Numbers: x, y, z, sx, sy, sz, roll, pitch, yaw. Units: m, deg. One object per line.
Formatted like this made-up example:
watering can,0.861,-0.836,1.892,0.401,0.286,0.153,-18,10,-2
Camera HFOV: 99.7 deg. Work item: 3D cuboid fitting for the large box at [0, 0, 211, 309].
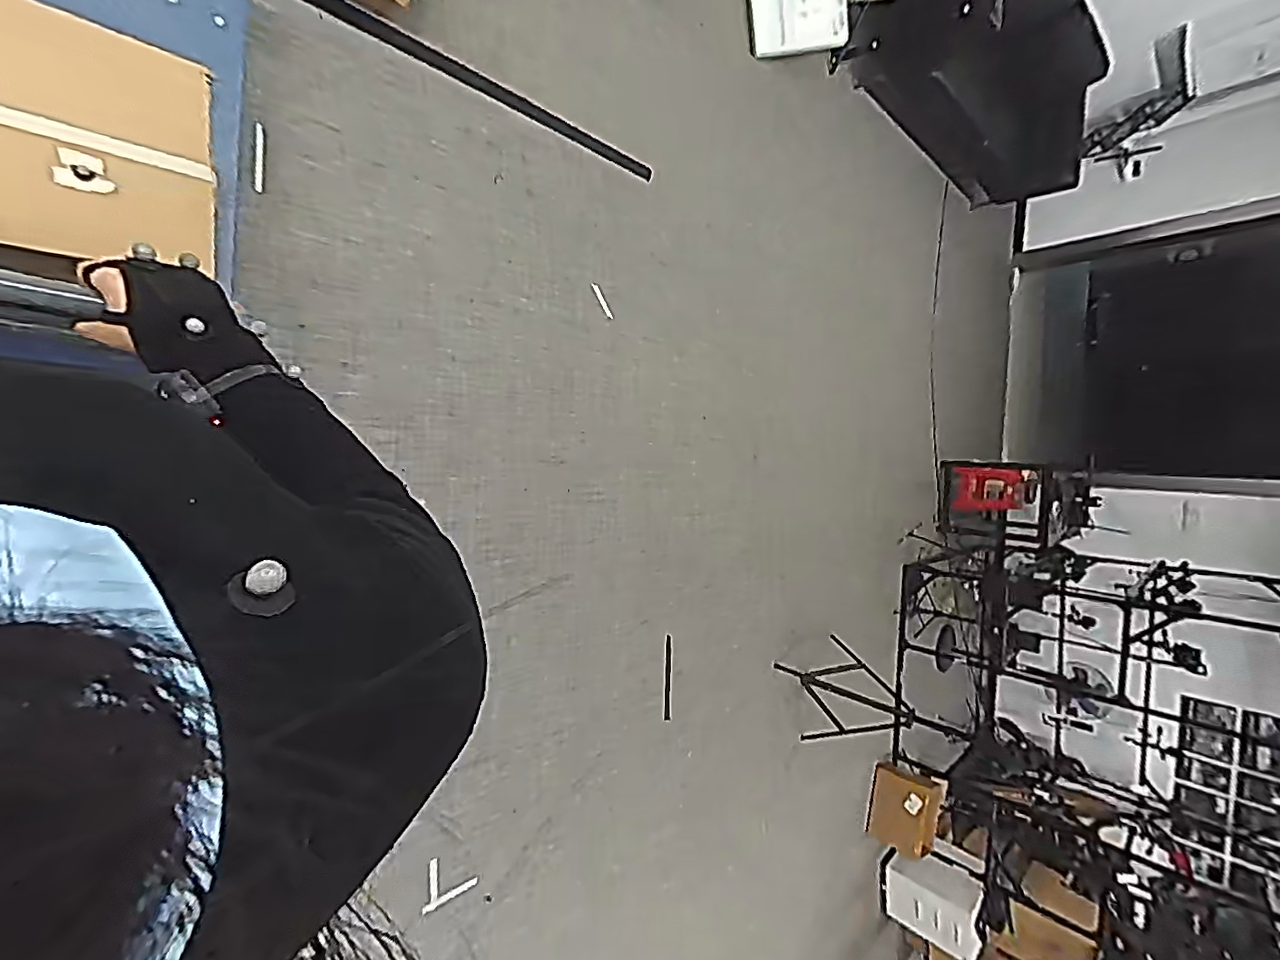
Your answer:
large box,-0.899,-0.460,0.778,0.408,0.320,0.320,-2,95,-45
